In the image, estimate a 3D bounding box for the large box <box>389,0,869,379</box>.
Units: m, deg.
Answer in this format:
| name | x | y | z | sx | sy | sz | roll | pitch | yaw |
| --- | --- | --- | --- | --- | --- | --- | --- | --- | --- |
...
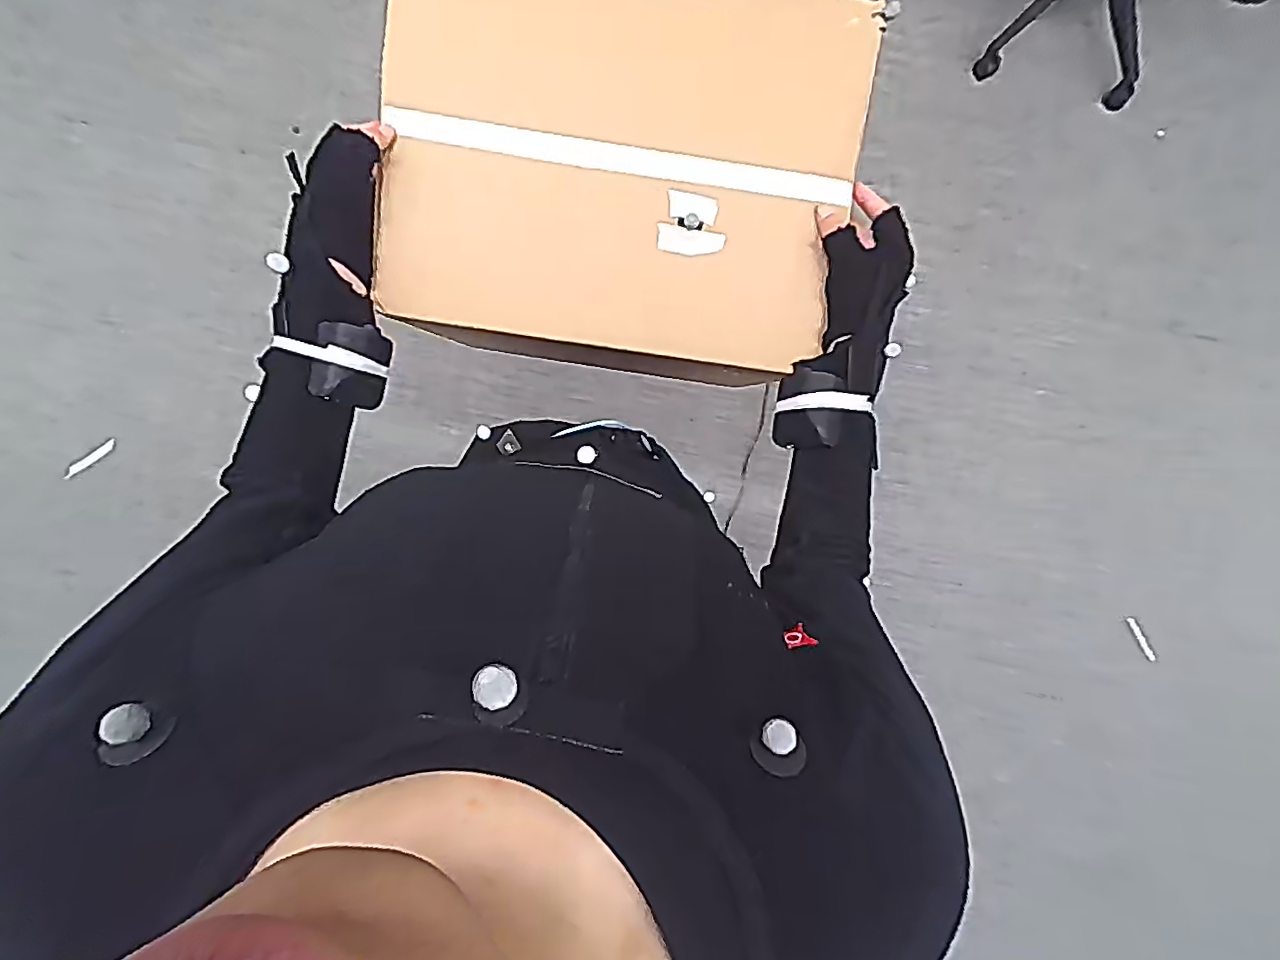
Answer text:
| name | x | y | z | sx | sy | sz | roll | pitch | yaw |
| --- | --- | --- | --- | --- | --- | --- | --- | --- | --- |
| large box | -0.022 | -0.302 | 0.627 | 0.408 | 0.320 | 0.320 | 8 | 99 | -4 |
